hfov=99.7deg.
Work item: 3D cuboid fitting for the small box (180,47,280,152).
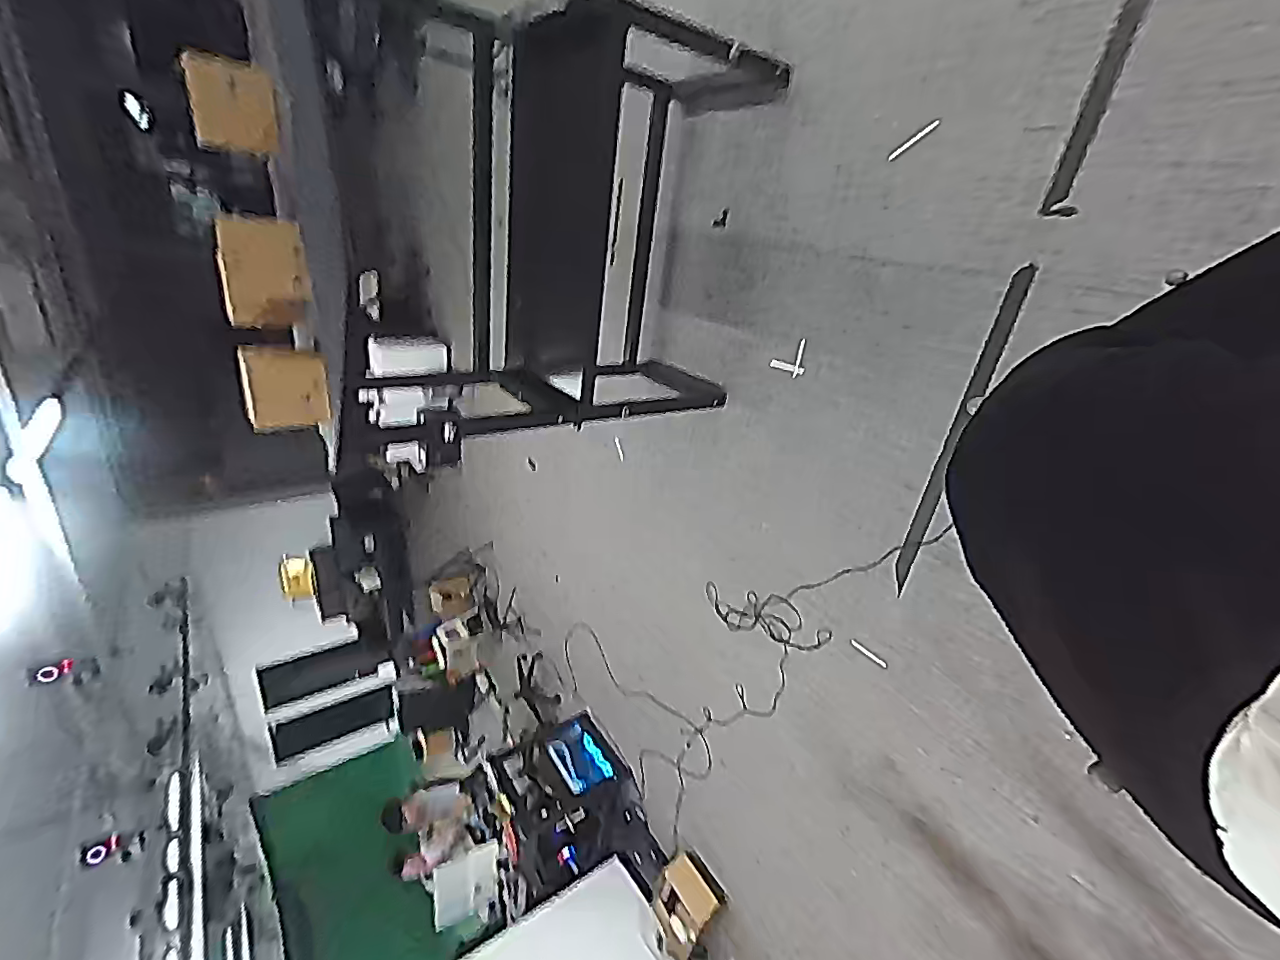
[{"bbox_3d":[-1.002,-0.924,1.325,0.168,0.176,0.179,38,128,43],"label":"small box"}]

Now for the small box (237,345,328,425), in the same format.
[{"bbox_3d":[-0.910,-0.249,1.384,0.179,0.176,0.168,30,122,45],"label":"small box"}]
